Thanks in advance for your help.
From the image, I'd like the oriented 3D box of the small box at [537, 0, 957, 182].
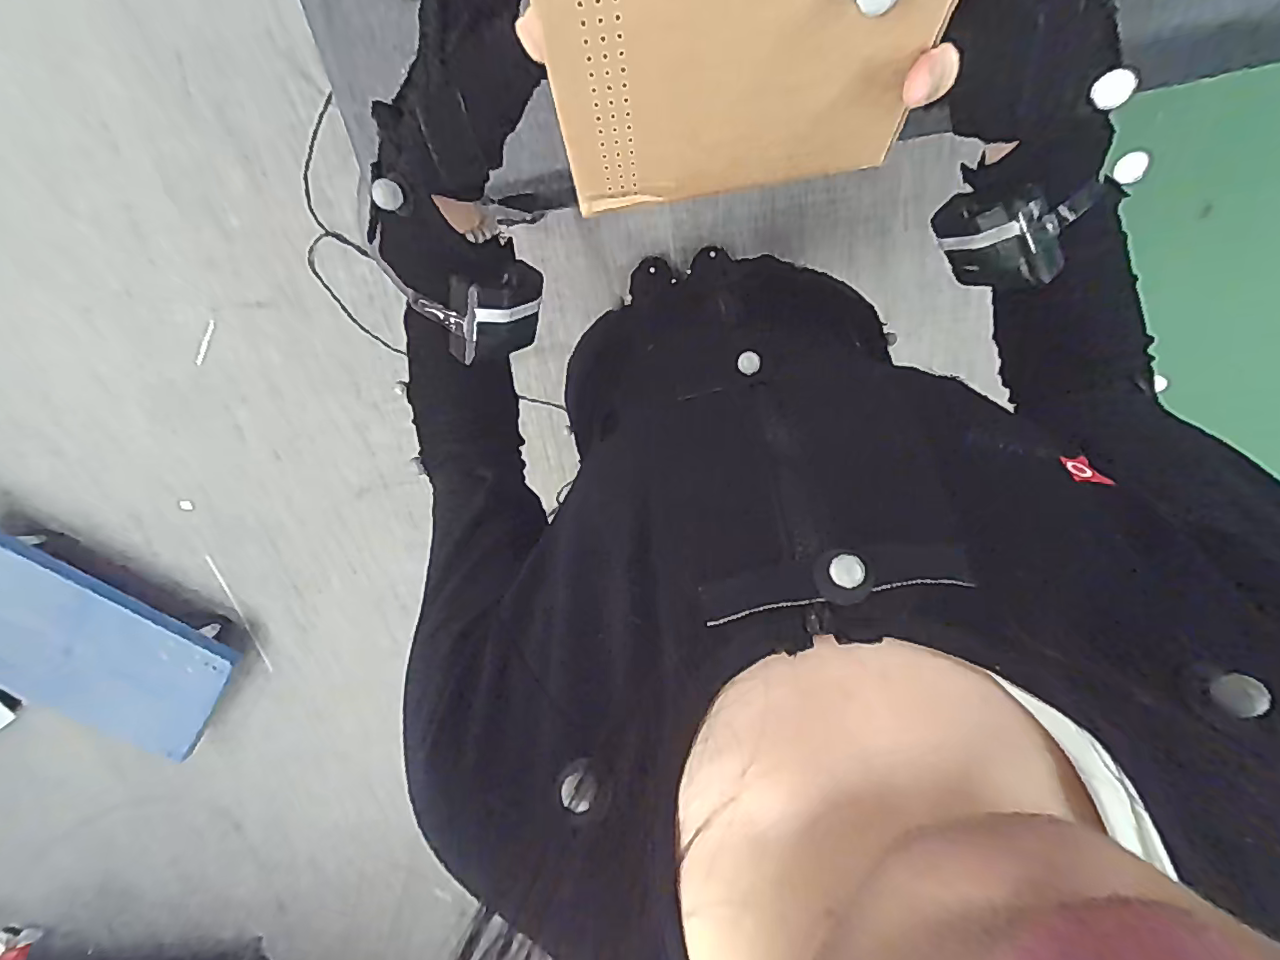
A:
[{"bbox_3d":[0.032,-0.258,0.228,0.176,0.179,0.168,-9,74,3],"label":"small box"}]
